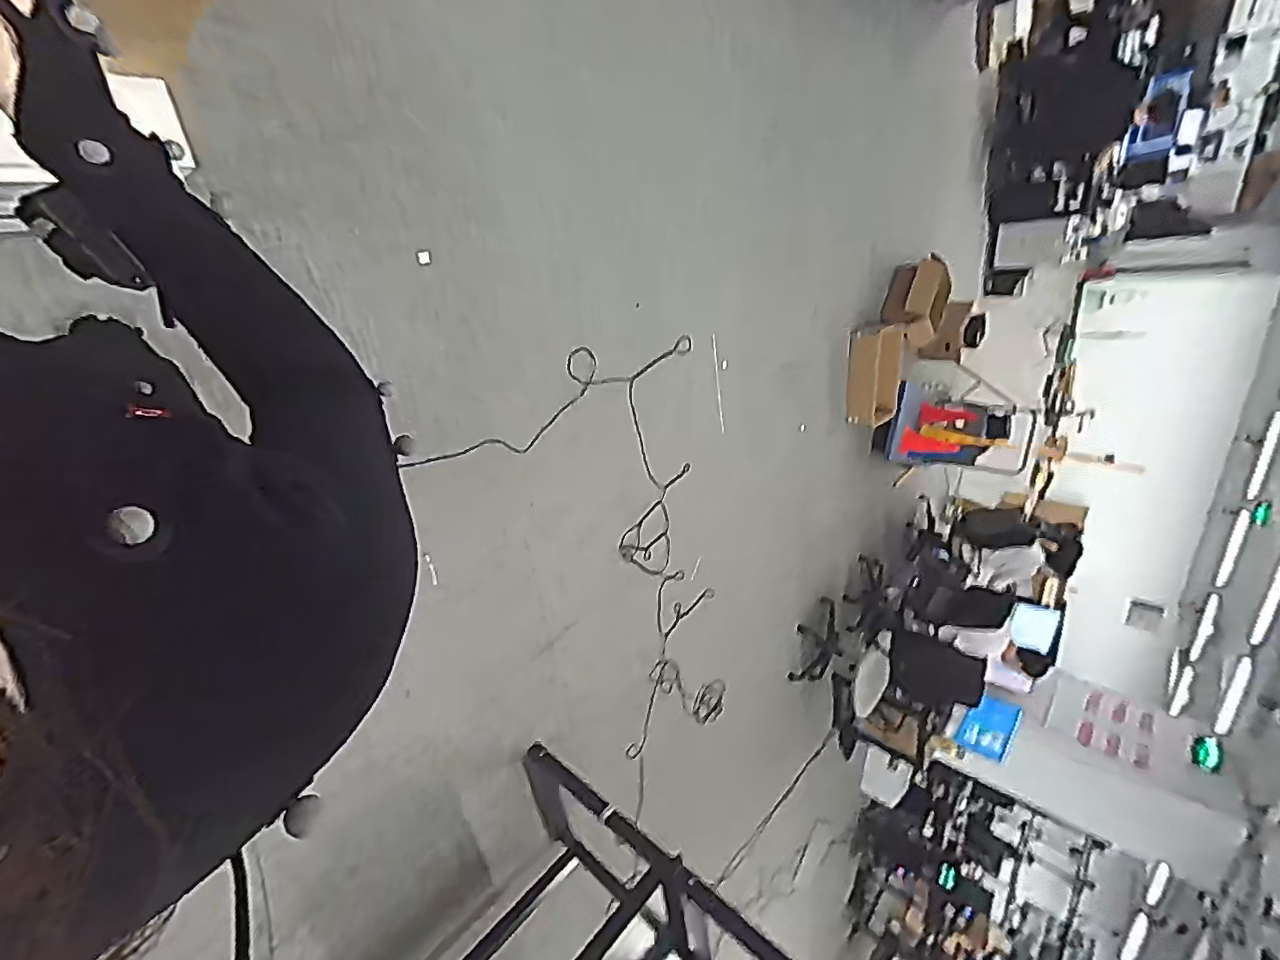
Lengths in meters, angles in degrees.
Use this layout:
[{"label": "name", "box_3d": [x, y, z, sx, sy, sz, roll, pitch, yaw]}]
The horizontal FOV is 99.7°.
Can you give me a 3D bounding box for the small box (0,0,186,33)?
[{"label": "small box", "box_3d": [-0.468, -0.472, 0.402, 0.179, 0.176, 0.168, -28, 119, -40]}]
